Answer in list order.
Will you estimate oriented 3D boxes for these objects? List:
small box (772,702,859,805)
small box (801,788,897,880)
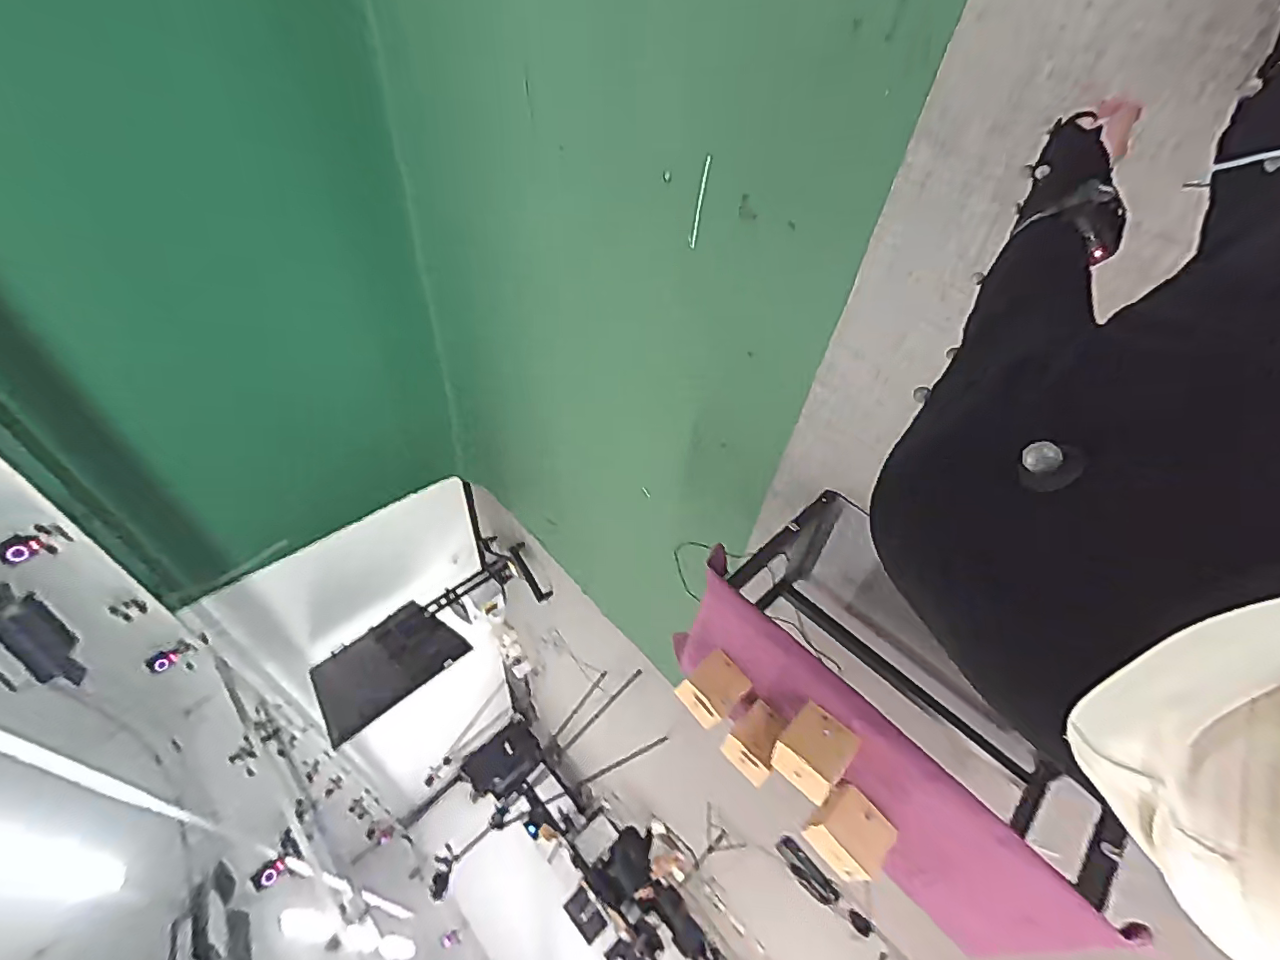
[{"bbox_3d":[0.508,0.788,1.566,0.168,0.176,0.179,33,142,34],"label":"small box"},{"bbox_3d":[0.633,1.065,1.638,0.179,0.176,0.168,45,146,21],"label":"small box"}]
